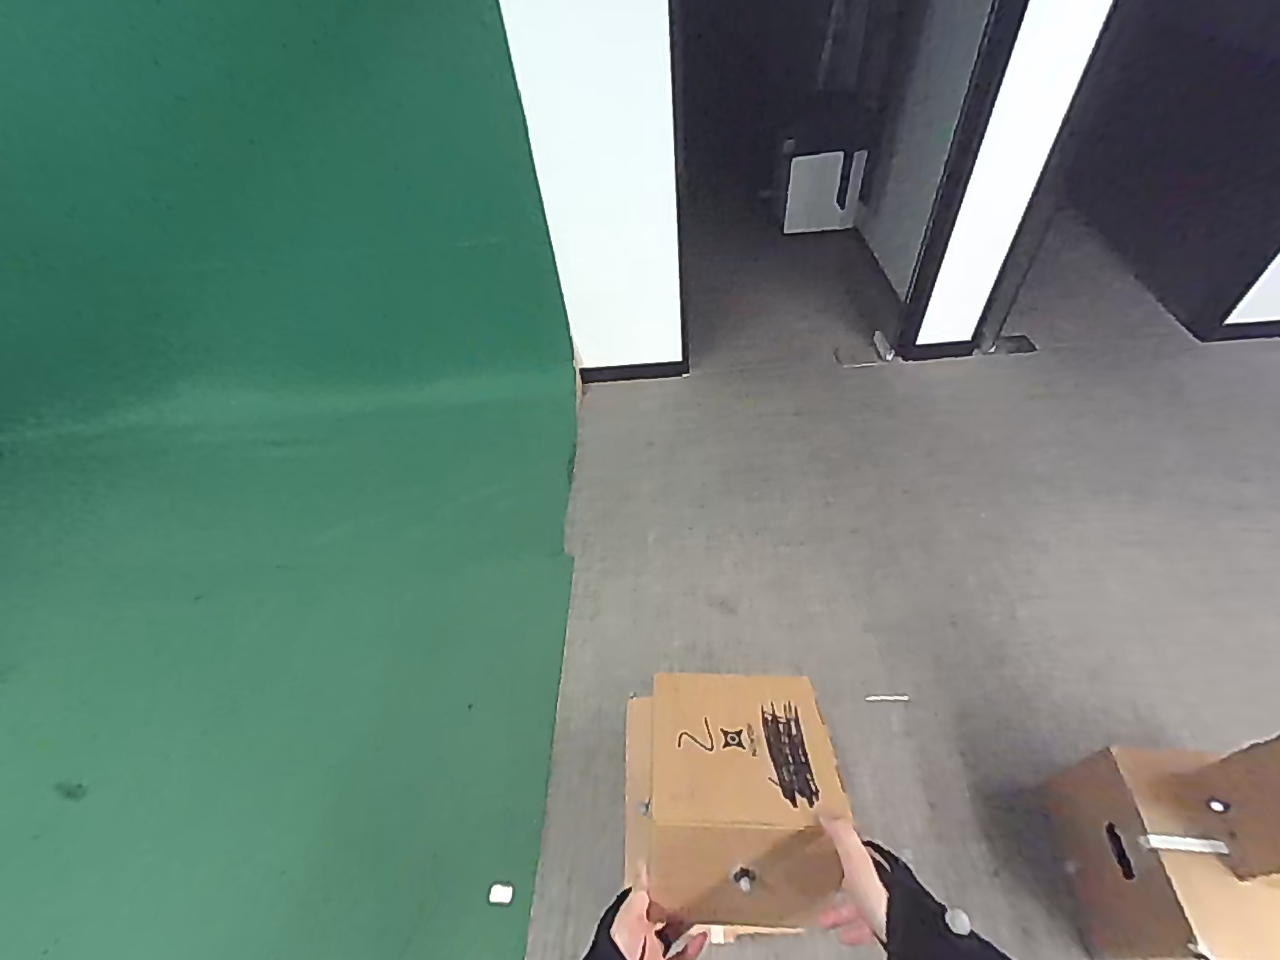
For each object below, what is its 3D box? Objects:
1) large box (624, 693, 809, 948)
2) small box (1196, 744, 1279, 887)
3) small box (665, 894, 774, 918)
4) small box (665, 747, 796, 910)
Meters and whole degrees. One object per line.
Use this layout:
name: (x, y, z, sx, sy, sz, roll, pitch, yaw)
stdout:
large box: (0.142, 0.716, 1.144, 0.320, 0.320, 0.408, -4, 46, 4)
small box: (1.066, 0.542, 0.854, 0.179, 0.176, 0.168, 3, 46, 11)
small box: (0.131, 0.615, 0.906, 0.168, 0.176, 0.179, -2, 47, 5)
small box: (0.123, 0.505, 0.783, 0.168, 0.176, 0.179, -2, 47, 5)
